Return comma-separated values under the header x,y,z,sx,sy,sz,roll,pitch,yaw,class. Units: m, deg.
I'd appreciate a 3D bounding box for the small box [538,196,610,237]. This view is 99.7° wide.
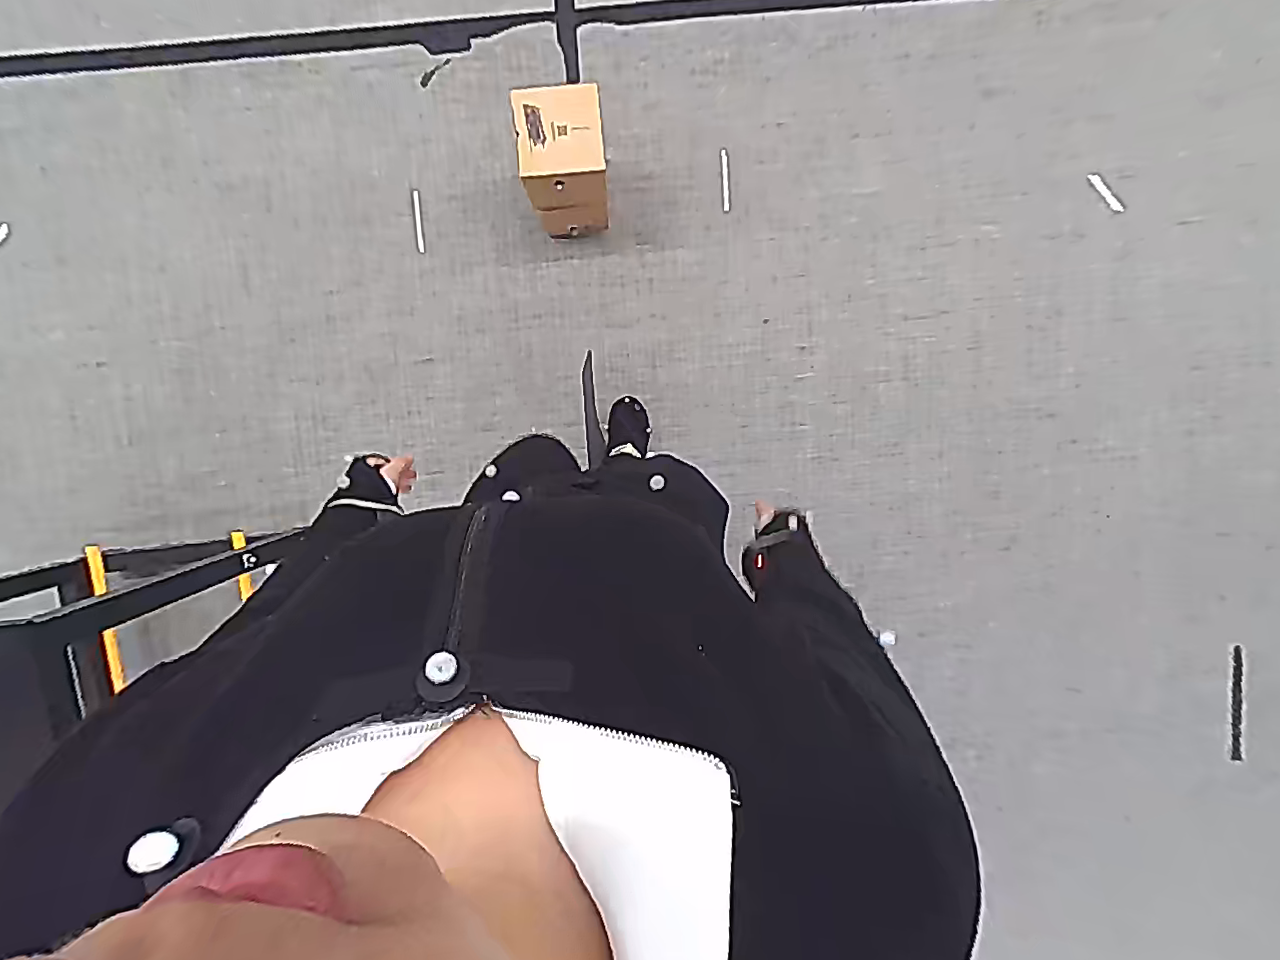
x,y,z,sx,sy,sz,roll,pitch,yaw,class
-0.169,-0.718,1.314,0.168,0.176,0.179,-10,98,0,small box

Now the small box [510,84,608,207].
x,y,z,sx,sy,sz,roll,pitch,yaw,class
-0.165,-0.700,1.150,0.179,0.176,0.168,-5,97,-1,small box
